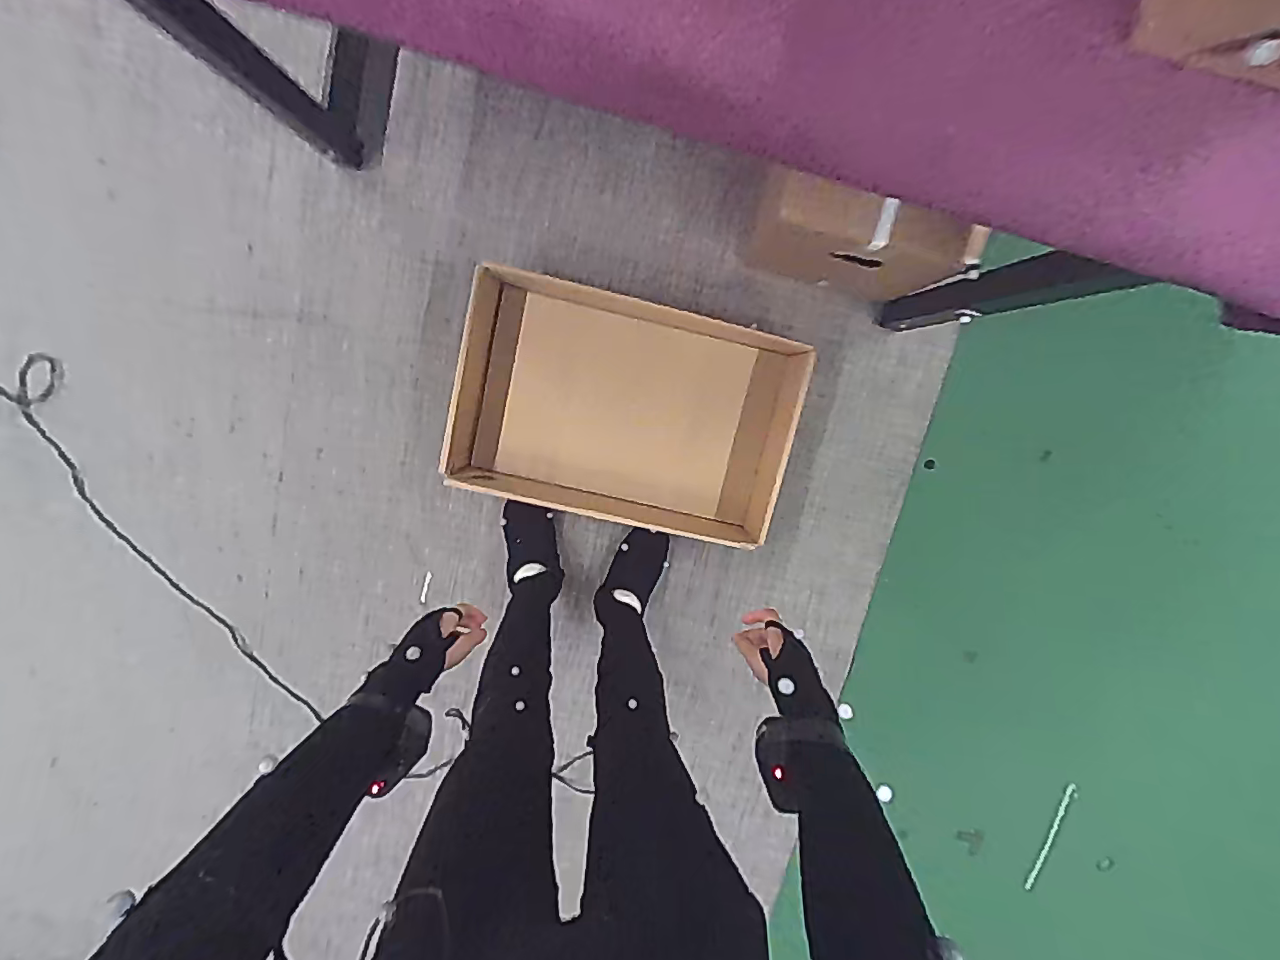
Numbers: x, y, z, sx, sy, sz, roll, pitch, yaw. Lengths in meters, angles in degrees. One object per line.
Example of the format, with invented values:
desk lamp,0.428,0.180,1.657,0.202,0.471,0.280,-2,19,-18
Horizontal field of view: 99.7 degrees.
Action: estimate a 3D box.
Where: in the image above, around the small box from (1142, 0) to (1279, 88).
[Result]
small box,0.448,-0.369,0.302,0.168,0.176,0.179,11,98,-2
